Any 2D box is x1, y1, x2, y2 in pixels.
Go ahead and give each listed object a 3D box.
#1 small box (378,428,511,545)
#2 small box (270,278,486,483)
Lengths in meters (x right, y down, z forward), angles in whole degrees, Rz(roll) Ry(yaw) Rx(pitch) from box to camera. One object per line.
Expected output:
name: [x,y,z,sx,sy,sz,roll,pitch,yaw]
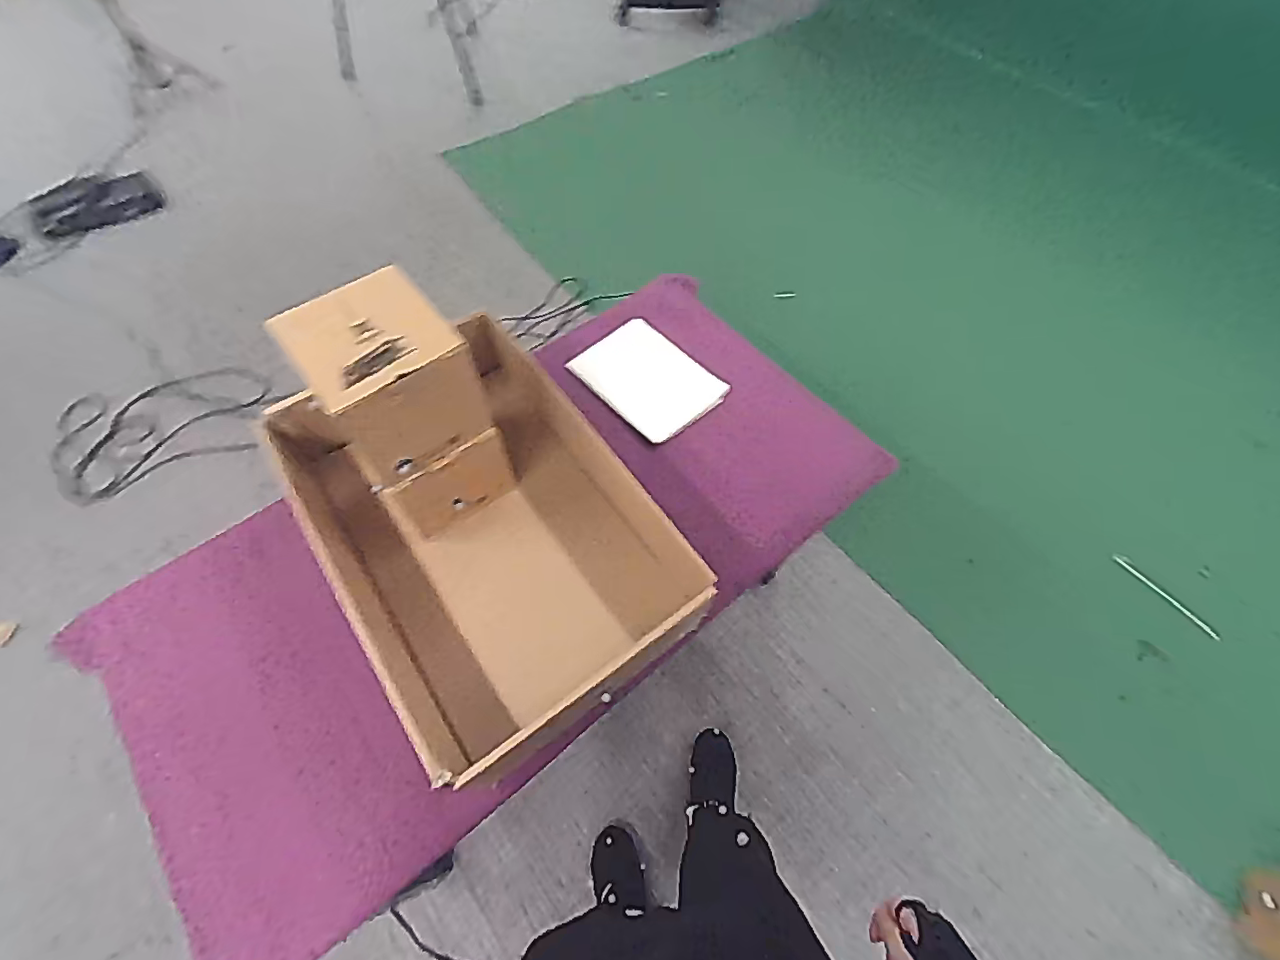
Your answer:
small box: [-0.325,-0.031,0.843,0.168,0.176,0.179,-35,68,-20]
small box: [-0.324,-0.118,0.704,0.168,0.176,0.179,-36,67,-21]
